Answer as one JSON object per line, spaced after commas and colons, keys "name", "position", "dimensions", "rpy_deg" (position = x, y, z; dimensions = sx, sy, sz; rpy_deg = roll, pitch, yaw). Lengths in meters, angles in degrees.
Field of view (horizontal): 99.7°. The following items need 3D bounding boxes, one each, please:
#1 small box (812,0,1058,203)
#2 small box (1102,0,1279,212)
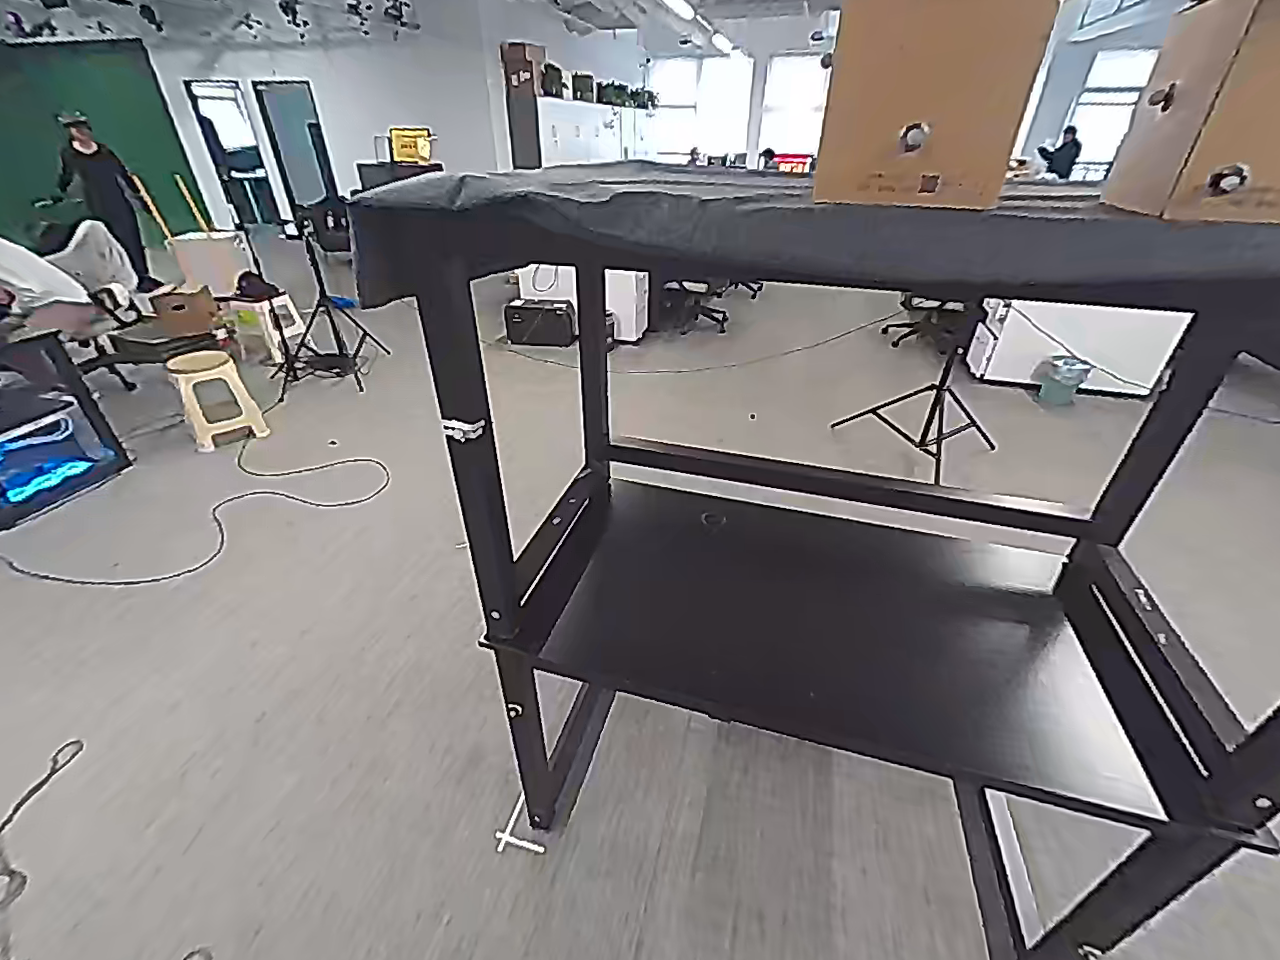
{"name": "small box", "position": [0.272, -0.378, 0.539], "dimensions": [0.168, 0.176, 0.179], "rpy_deg": [10, 32, 15]}
{"name": "small box", "position": [0.560, -0.333, 0.474], "dimensions": [0.168, 0.176, 0.179], "rpy_deg": [12, 33, 17]}
